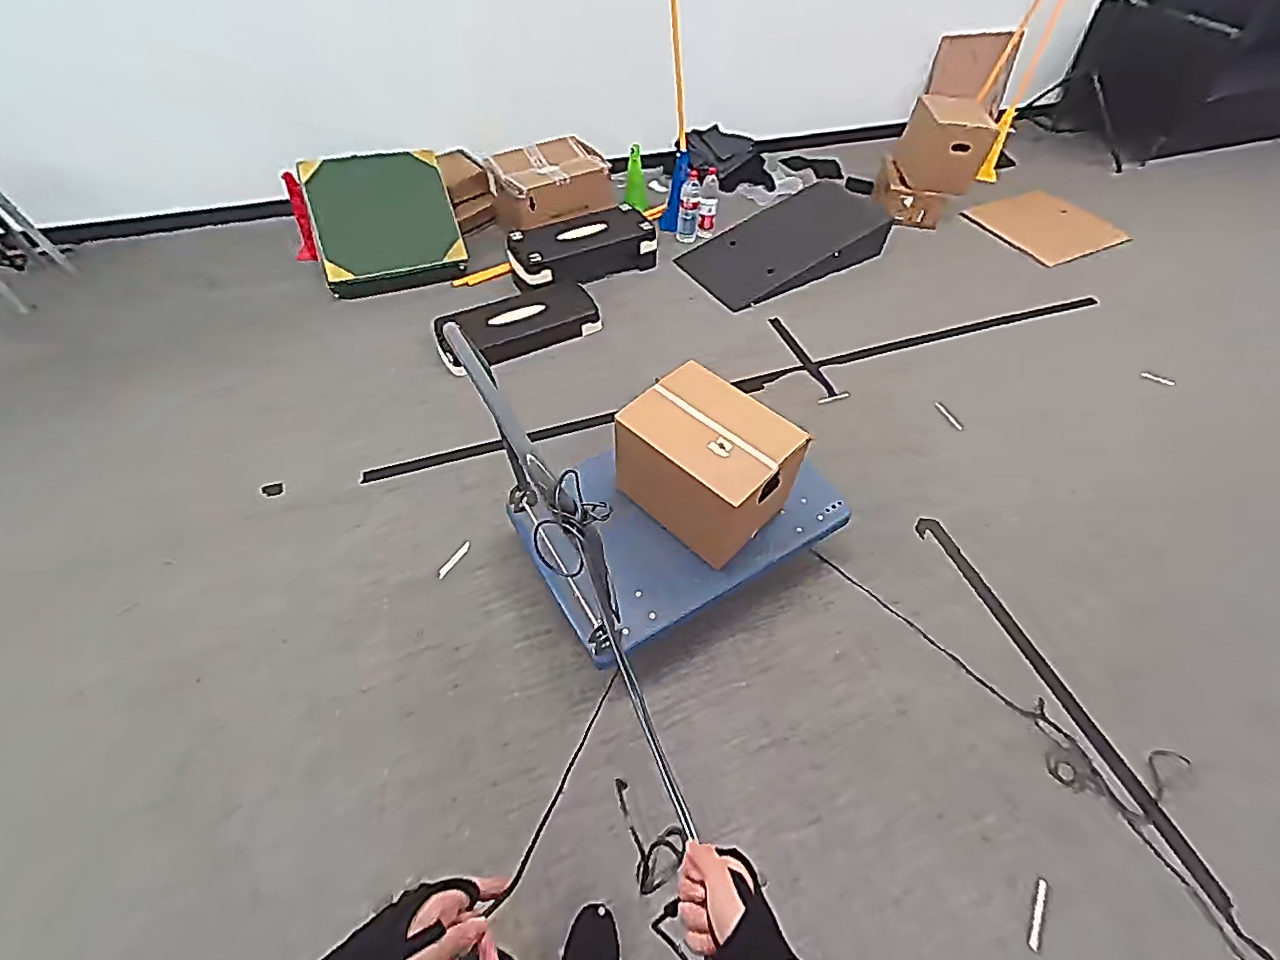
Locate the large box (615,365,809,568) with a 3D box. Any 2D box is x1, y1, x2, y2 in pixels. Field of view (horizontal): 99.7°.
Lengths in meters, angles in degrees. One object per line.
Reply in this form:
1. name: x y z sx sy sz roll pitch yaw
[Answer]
1. large box: 0.175 -0.040 1.487 0.408 0.320 0.320 38 62 23
